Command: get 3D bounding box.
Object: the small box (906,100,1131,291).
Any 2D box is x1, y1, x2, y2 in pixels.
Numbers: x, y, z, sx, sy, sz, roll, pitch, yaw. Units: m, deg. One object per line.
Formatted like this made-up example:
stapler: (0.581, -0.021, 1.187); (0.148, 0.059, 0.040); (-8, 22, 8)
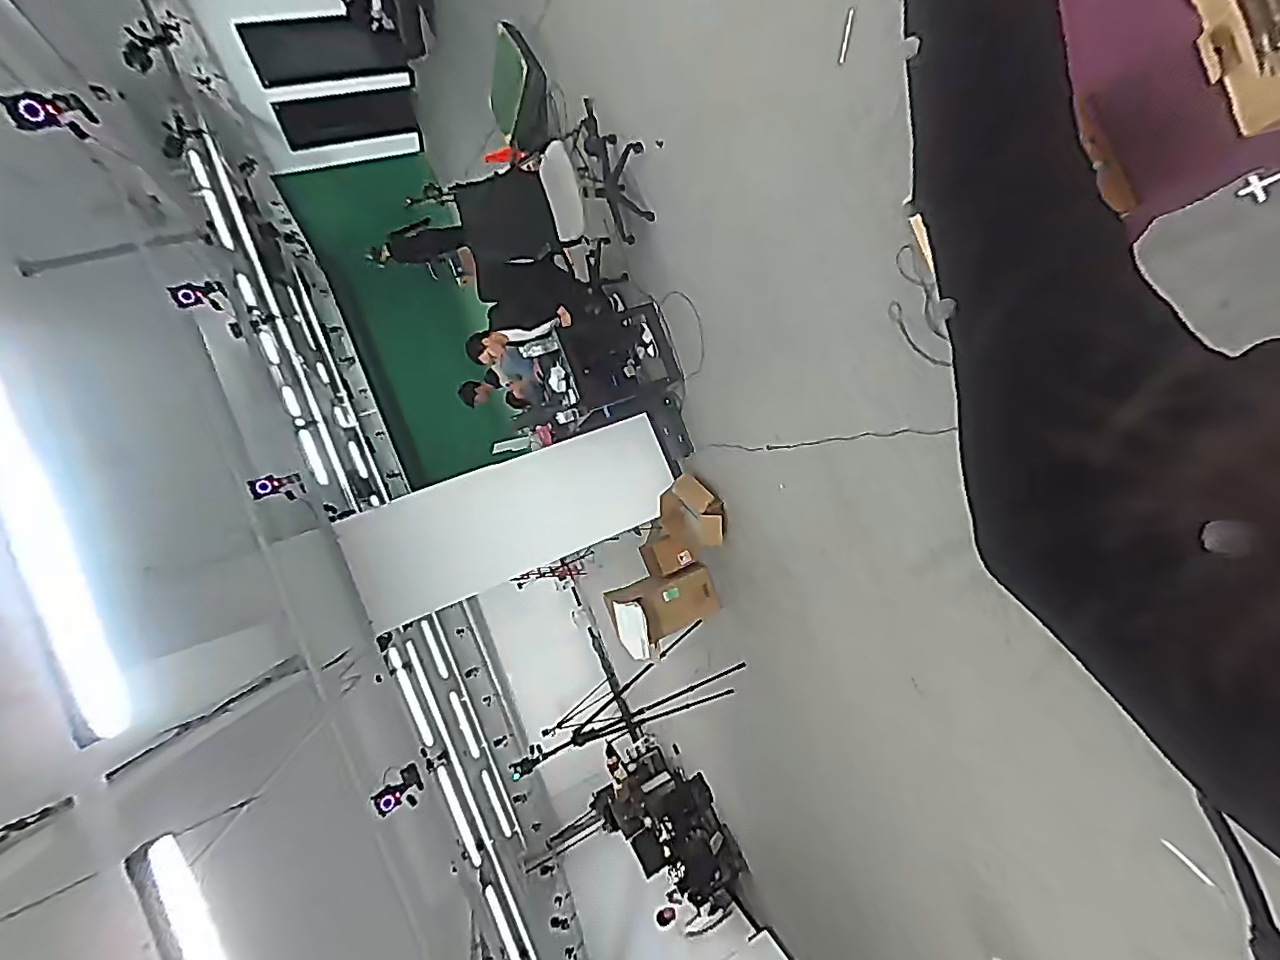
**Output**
small box: (0.532, -0.400, 0.774); (0.168, 0.176, 0.179); (68, 161, 2)
